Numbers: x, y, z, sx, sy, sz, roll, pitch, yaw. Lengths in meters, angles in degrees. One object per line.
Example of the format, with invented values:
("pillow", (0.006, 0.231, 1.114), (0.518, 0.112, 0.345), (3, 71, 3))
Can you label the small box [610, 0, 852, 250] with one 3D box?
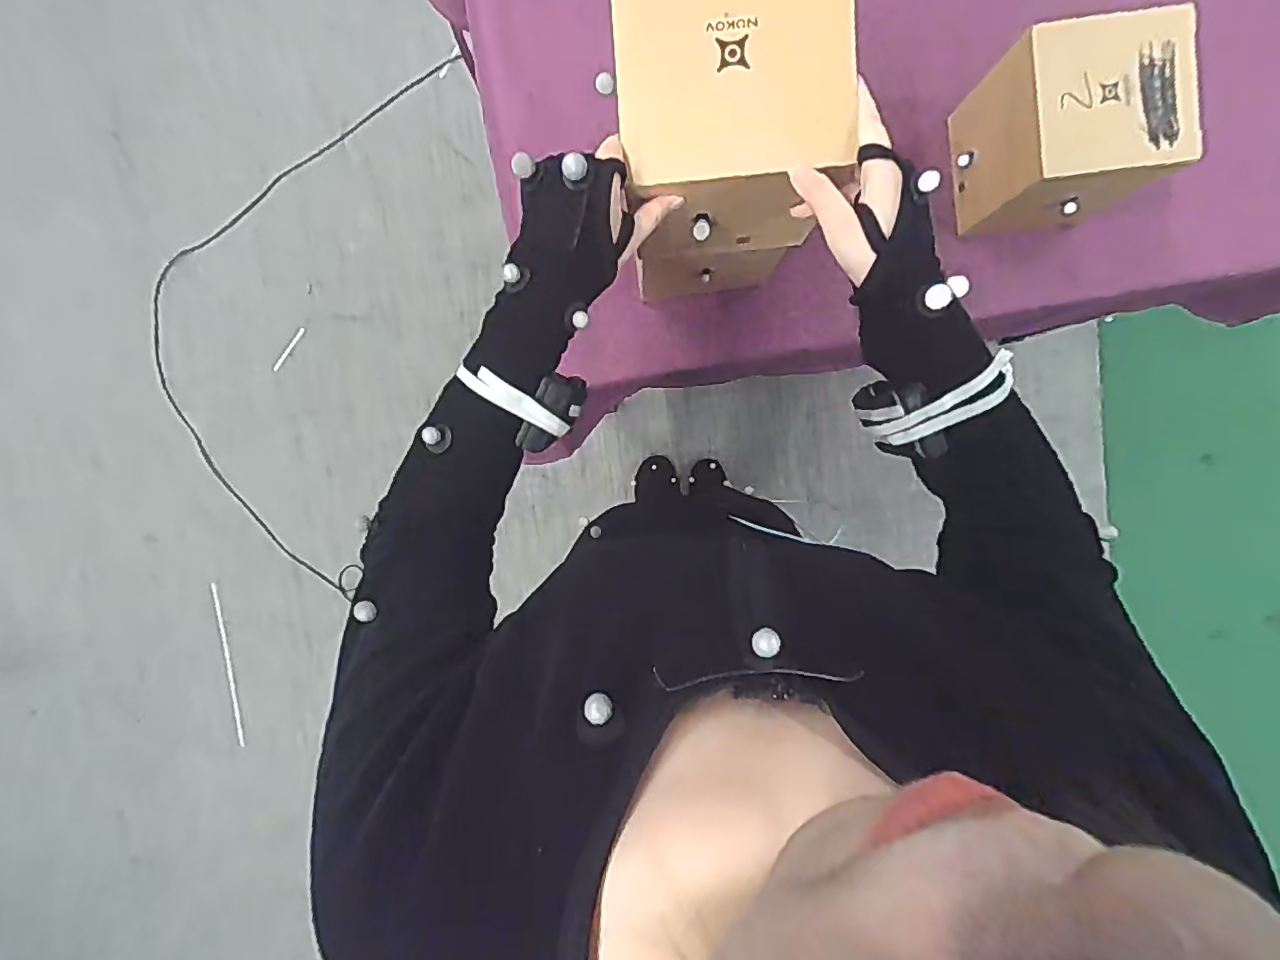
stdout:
("small box", (0.068, -0.308, 0.455), (0.168, 0.176, 0.179), (-4, 94, 4))

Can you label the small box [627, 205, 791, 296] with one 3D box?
("small box", (0.075, -0.343, 0.674), (0.179, 0.176, 0.168), (-8, 93, 1))
